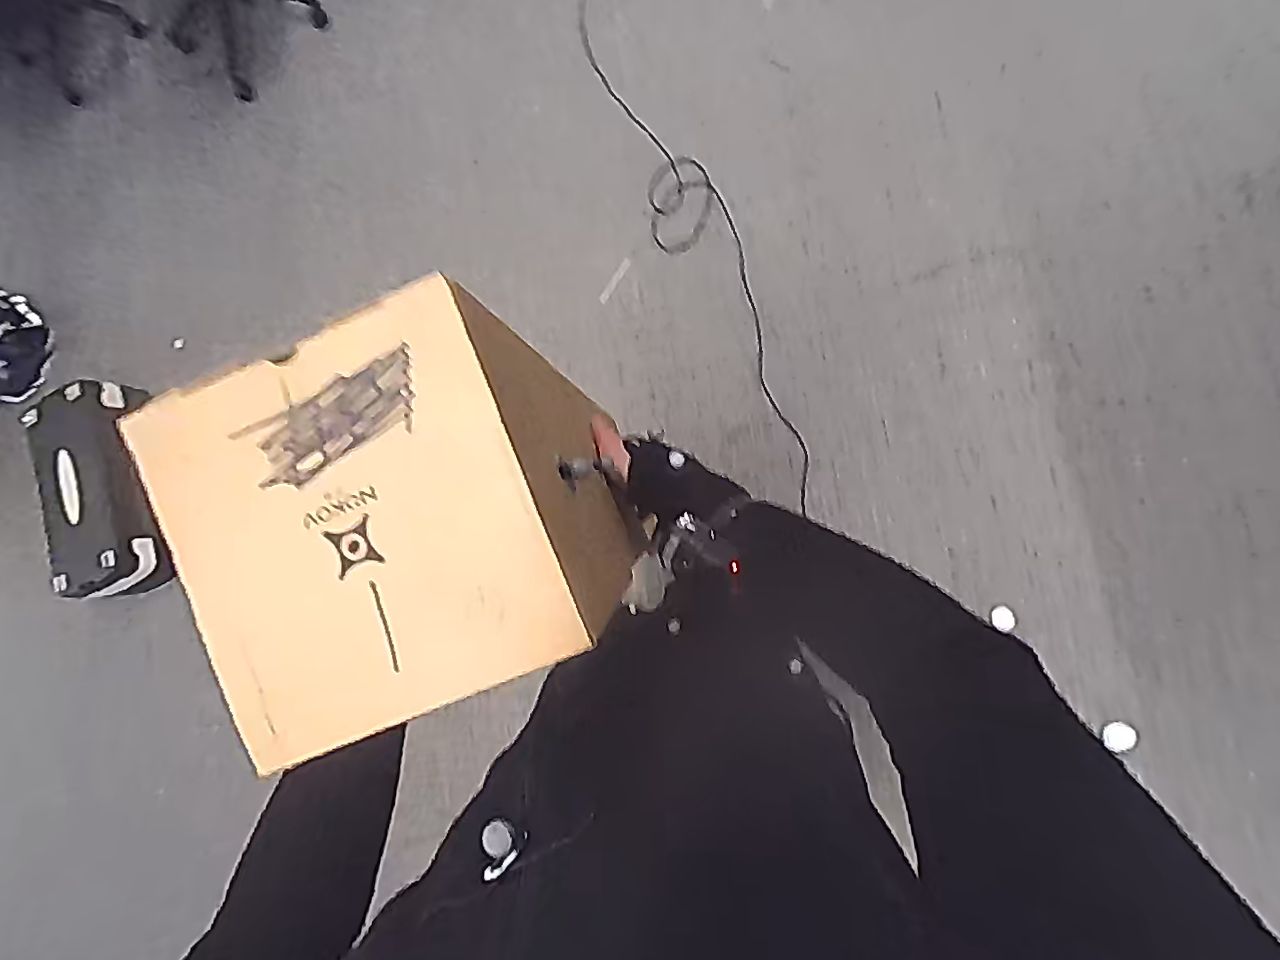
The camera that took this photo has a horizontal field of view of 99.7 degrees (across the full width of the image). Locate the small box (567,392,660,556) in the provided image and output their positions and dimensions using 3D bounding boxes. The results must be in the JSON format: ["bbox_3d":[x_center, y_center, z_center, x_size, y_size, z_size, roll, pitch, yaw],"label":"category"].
[{"bbox_3d":[-0.084,0.015,0.639,0.168,0.176,0.179,-22,88,7],"label":"small box"}]

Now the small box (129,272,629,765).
[{"bbox_3d":[-0.117,0.018,0.314,0.168,0.176,0.179,-22,89,6],"label":"small box"}]
